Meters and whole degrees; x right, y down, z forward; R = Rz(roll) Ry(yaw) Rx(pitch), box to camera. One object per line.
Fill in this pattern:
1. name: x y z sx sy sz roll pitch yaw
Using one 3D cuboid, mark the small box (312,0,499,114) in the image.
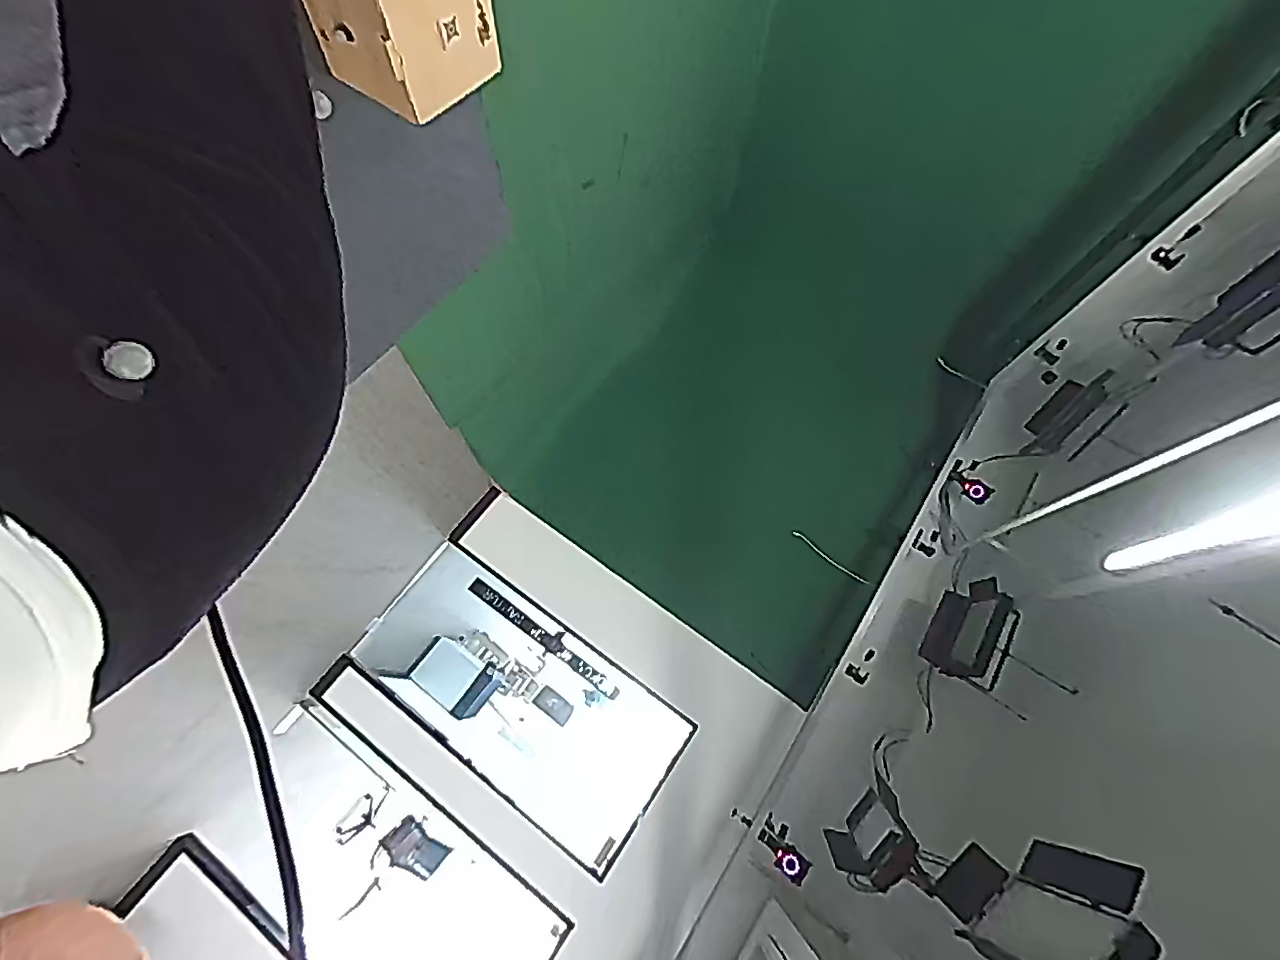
1. small box: -0.320 -0.641 0.719 0.179 0.176 0.168 -49 169 -22
